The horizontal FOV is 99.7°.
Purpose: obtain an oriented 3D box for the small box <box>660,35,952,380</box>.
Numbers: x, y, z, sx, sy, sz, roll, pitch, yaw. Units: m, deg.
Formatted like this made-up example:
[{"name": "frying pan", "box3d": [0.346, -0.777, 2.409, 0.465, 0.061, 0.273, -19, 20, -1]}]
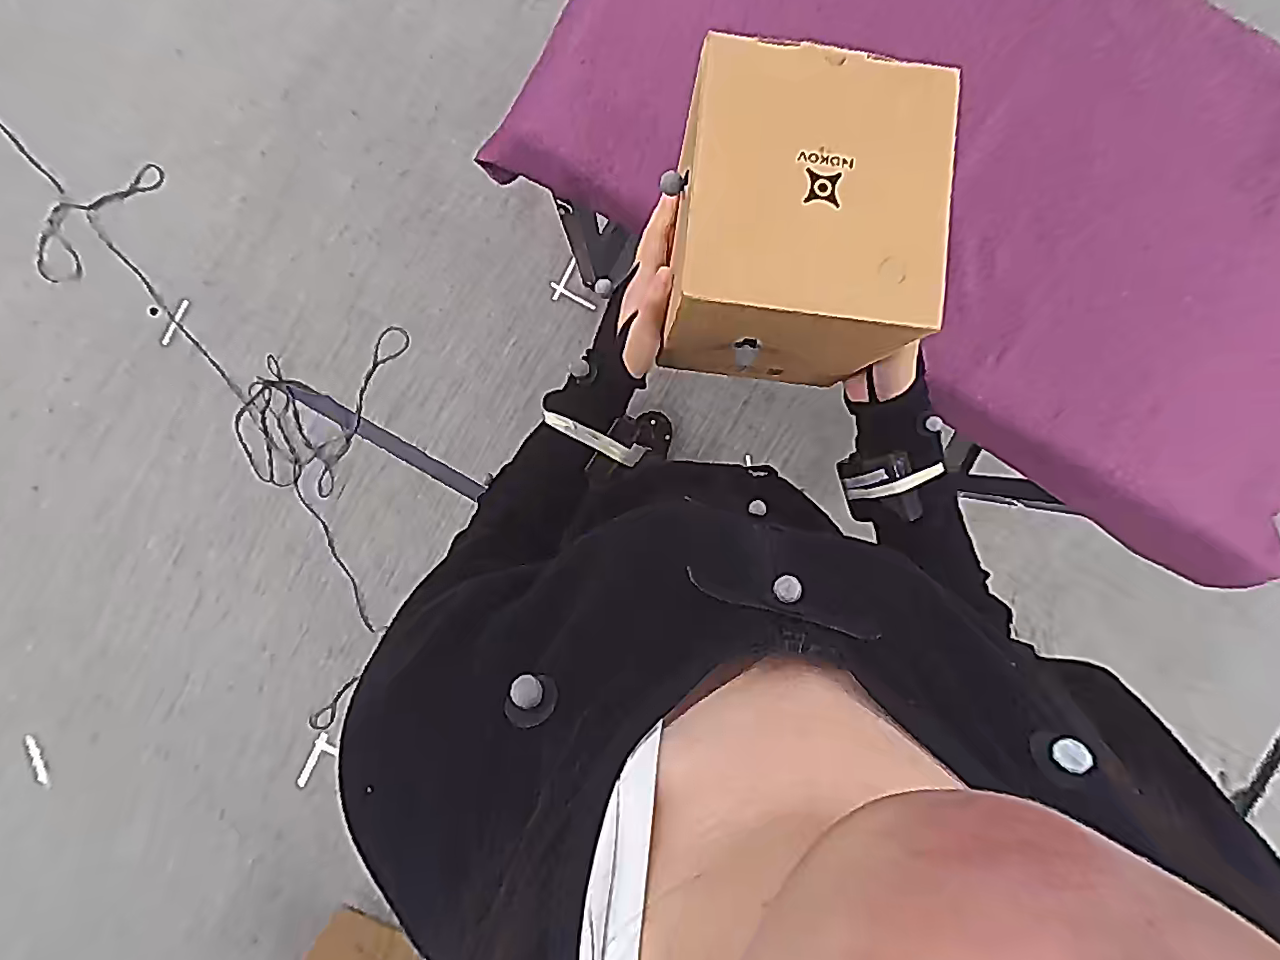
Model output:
[{"name": "small box", "box3d": [0.109, -0.186, 0.424, 0.168, 0.176, 0.179, 6, 86, -3]}]
